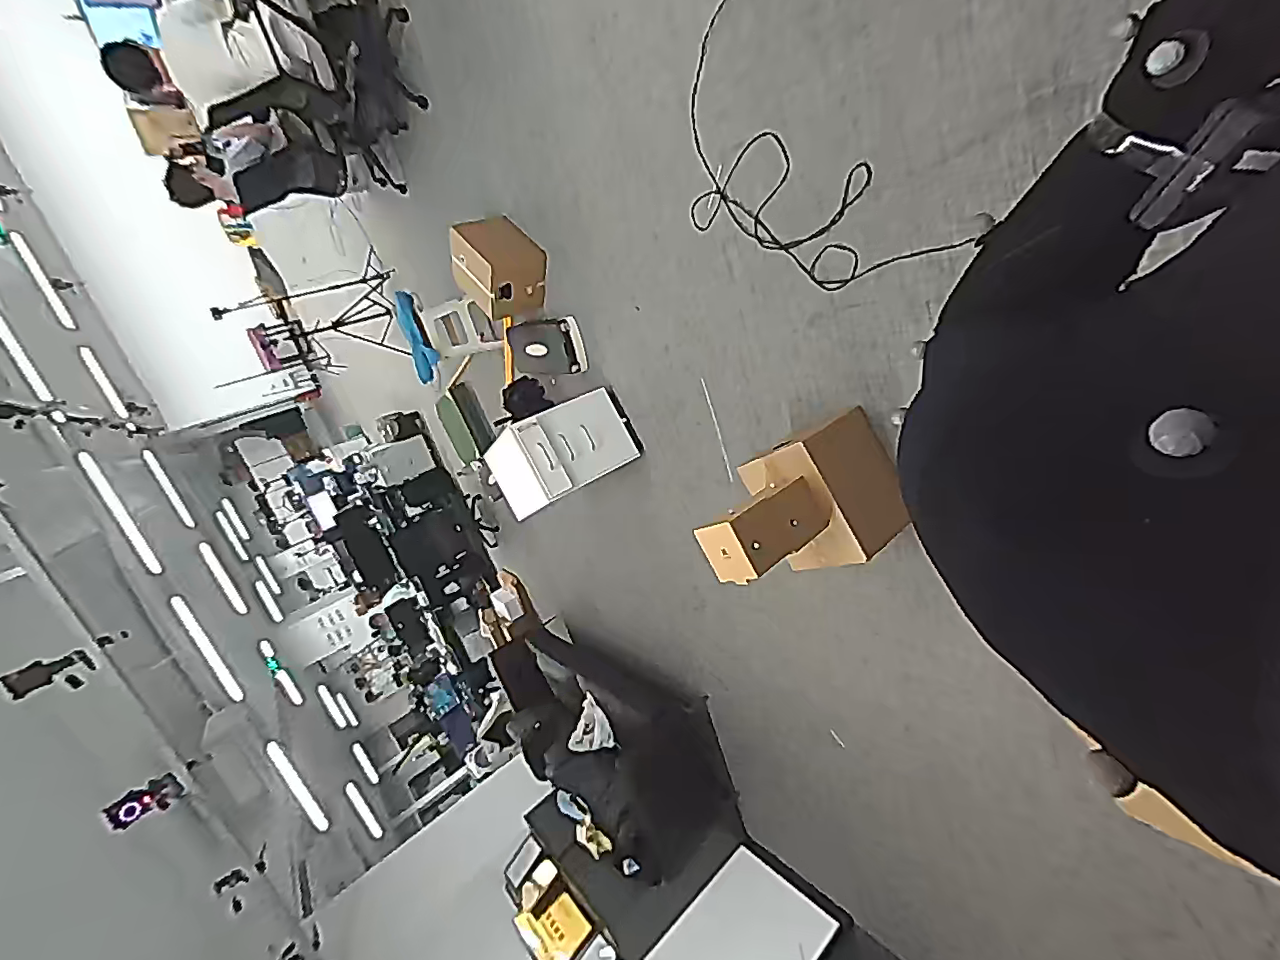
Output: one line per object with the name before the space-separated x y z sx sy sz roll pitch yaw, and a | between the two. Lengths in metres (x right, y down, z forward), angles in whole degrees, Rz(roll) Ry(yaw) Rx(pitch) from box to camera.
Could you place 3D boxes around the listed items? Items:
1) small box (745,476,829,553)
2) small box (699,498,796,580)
small box | 0.436 0.110 1.631 0.168 0.176 0.179 -26 92 58
small box | 0.309 0.165 1.545 0.168 0.176 0.179 -25 93 58
